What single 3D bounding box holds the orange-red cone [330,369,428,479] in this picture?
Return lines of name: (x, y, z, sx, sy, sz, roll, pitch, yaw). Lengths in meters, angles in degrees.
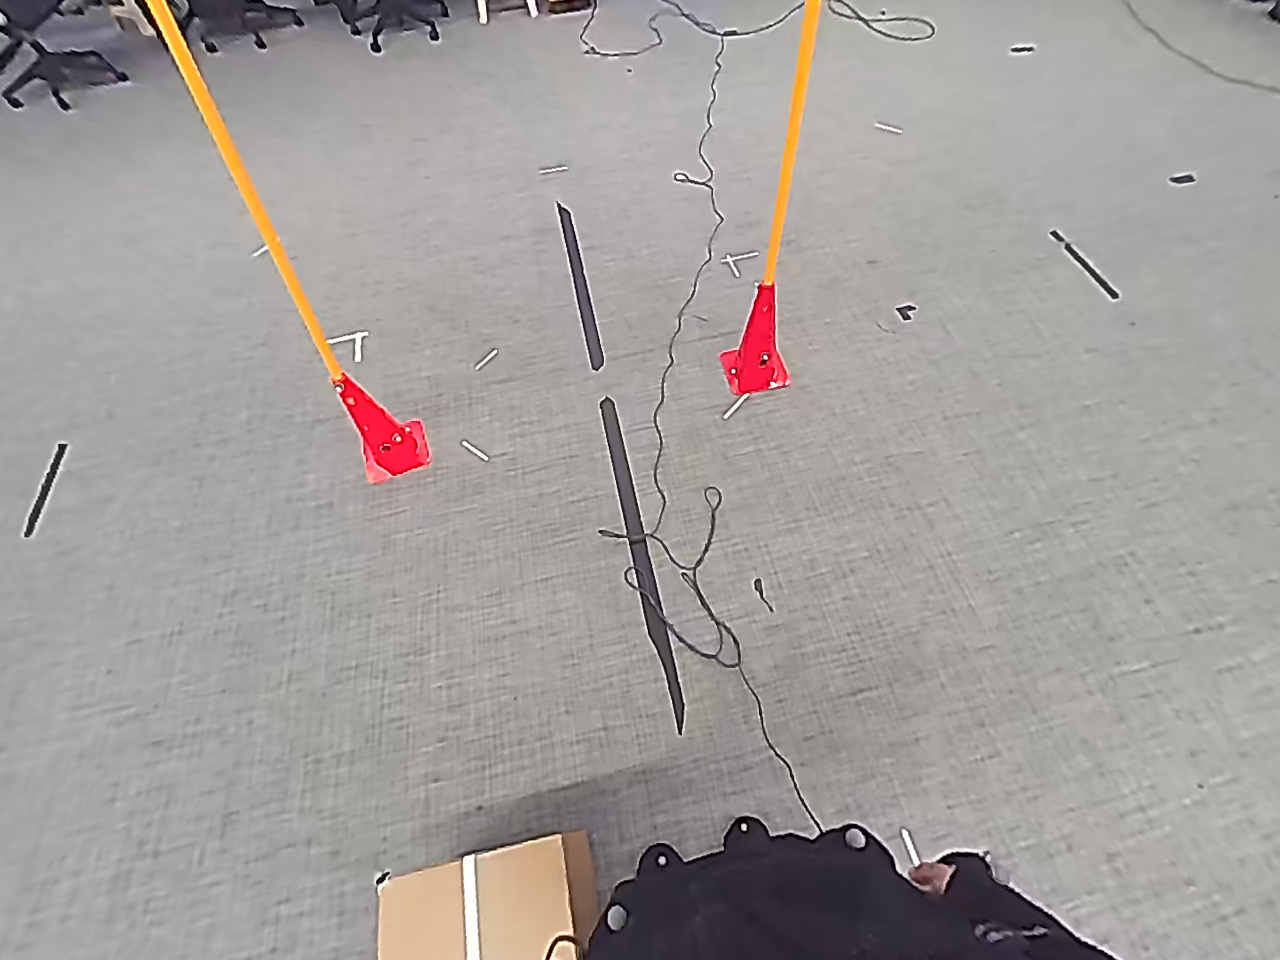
orange-red cone: (-0.797, -0.190, 1.589, 0.199, 0.360, 0.198, -20, 59, -7)
